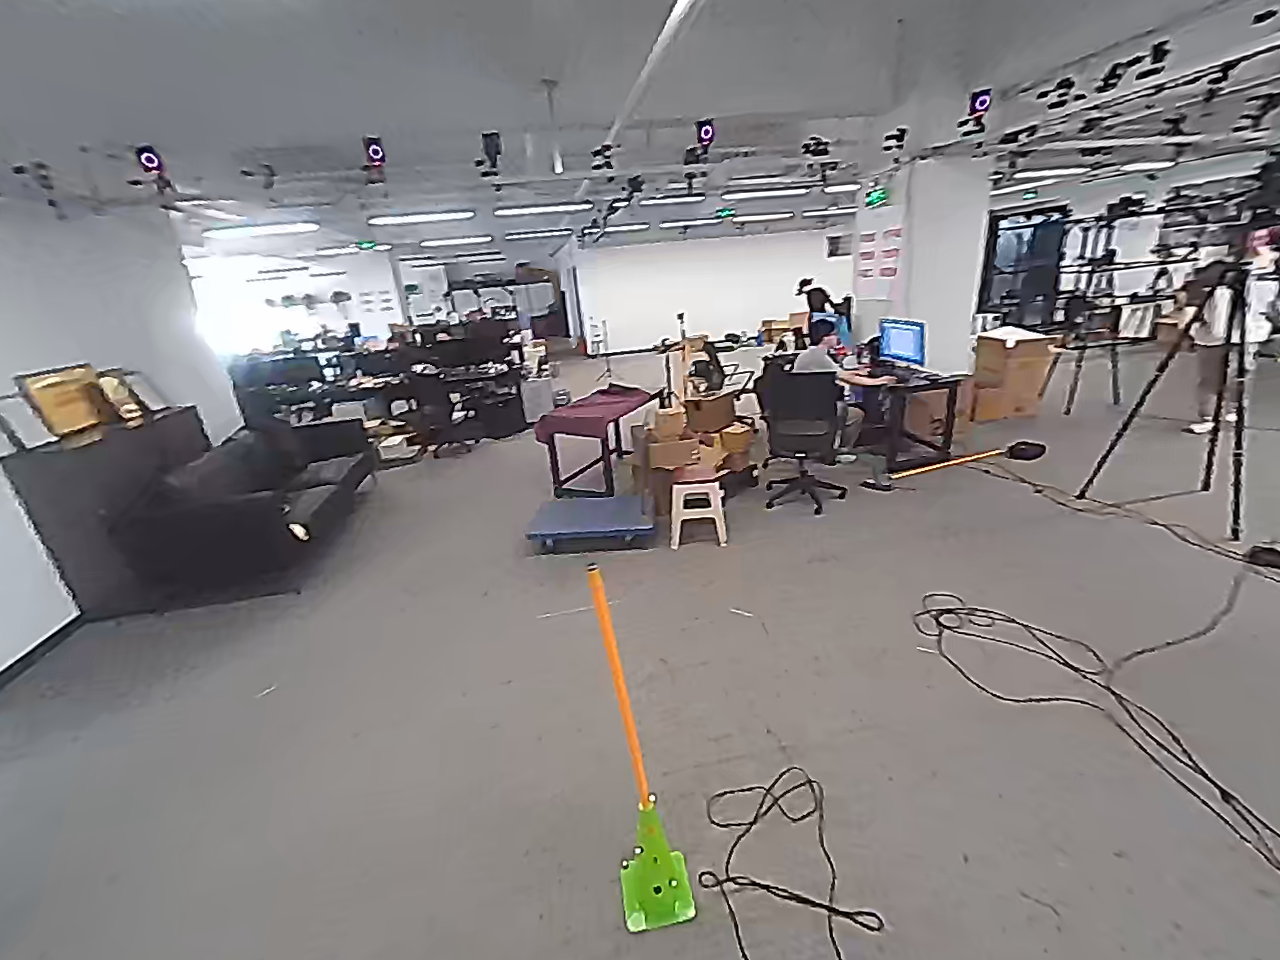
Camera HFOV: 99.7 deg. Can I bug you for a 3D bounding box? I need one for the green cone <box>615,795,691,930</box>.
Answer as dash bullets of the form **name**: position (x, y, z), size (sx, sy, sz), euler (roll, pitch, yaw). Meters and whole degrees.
- **green cone**: position (0.023, 1.049, 1.538), size (0.202, 0.368, 0.200), euler (-7, 21, -8)
